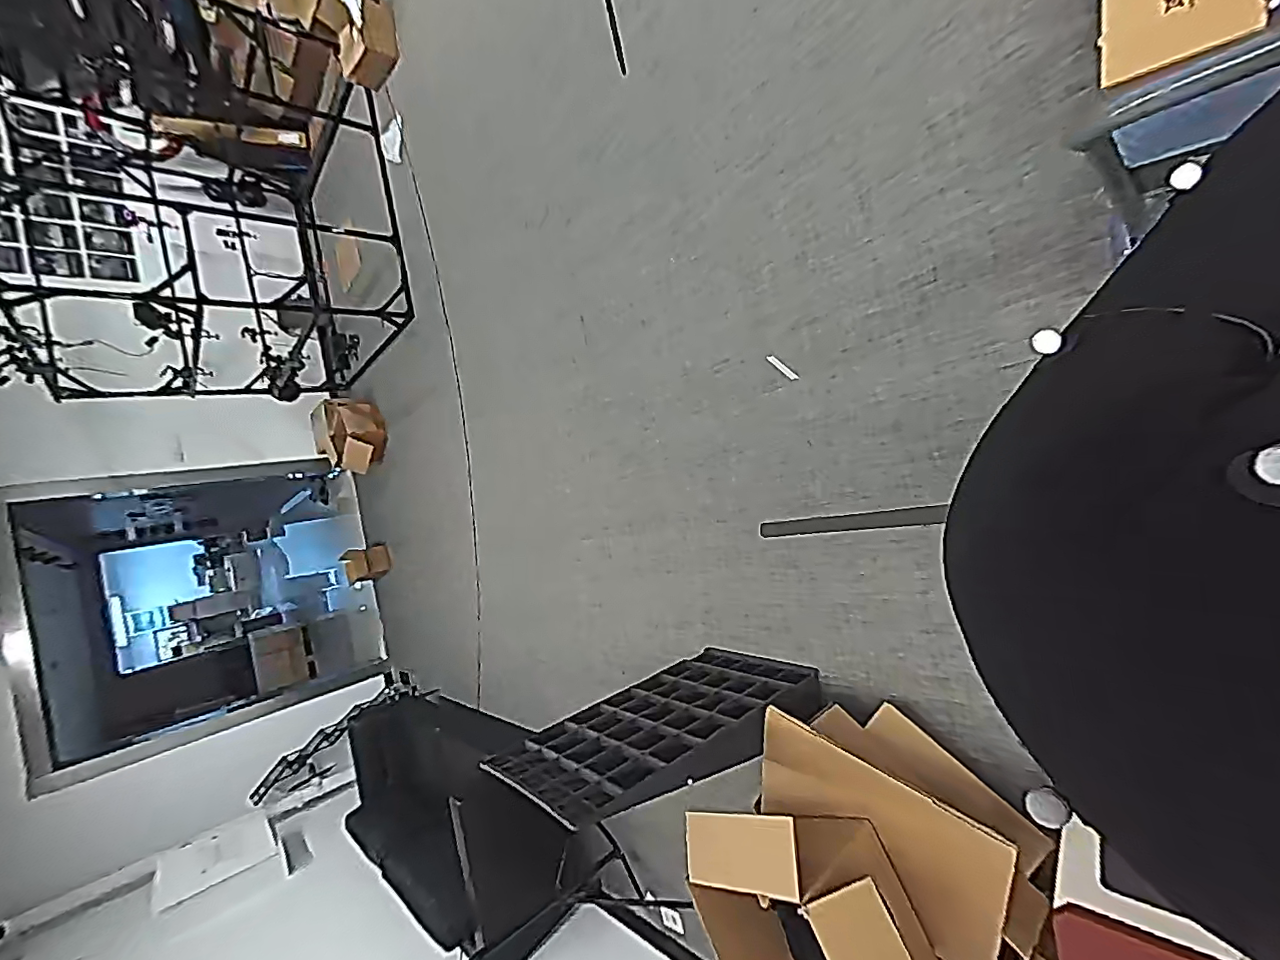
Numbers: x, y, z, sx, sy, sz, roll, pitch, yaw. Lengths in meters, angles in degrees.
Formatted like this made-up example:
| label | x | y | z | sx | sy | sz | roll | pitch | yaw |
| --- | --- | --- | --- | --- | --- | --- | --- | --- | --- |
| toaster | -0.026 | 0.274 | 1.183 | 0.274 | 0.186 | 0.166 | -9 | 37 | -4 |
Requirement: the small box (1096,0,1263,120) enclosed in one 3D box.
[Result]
| label | x | y | z | sx | sy | sz | roll | pitch | yaw |
| --- | --- | --- | --- | --- | --- | --- | --- | --- | --- |
| small box | 0.840 | -0.704 | 0.845 | 0.179 | 0.176 | 0.168 | 2 | 99 | 46 |
